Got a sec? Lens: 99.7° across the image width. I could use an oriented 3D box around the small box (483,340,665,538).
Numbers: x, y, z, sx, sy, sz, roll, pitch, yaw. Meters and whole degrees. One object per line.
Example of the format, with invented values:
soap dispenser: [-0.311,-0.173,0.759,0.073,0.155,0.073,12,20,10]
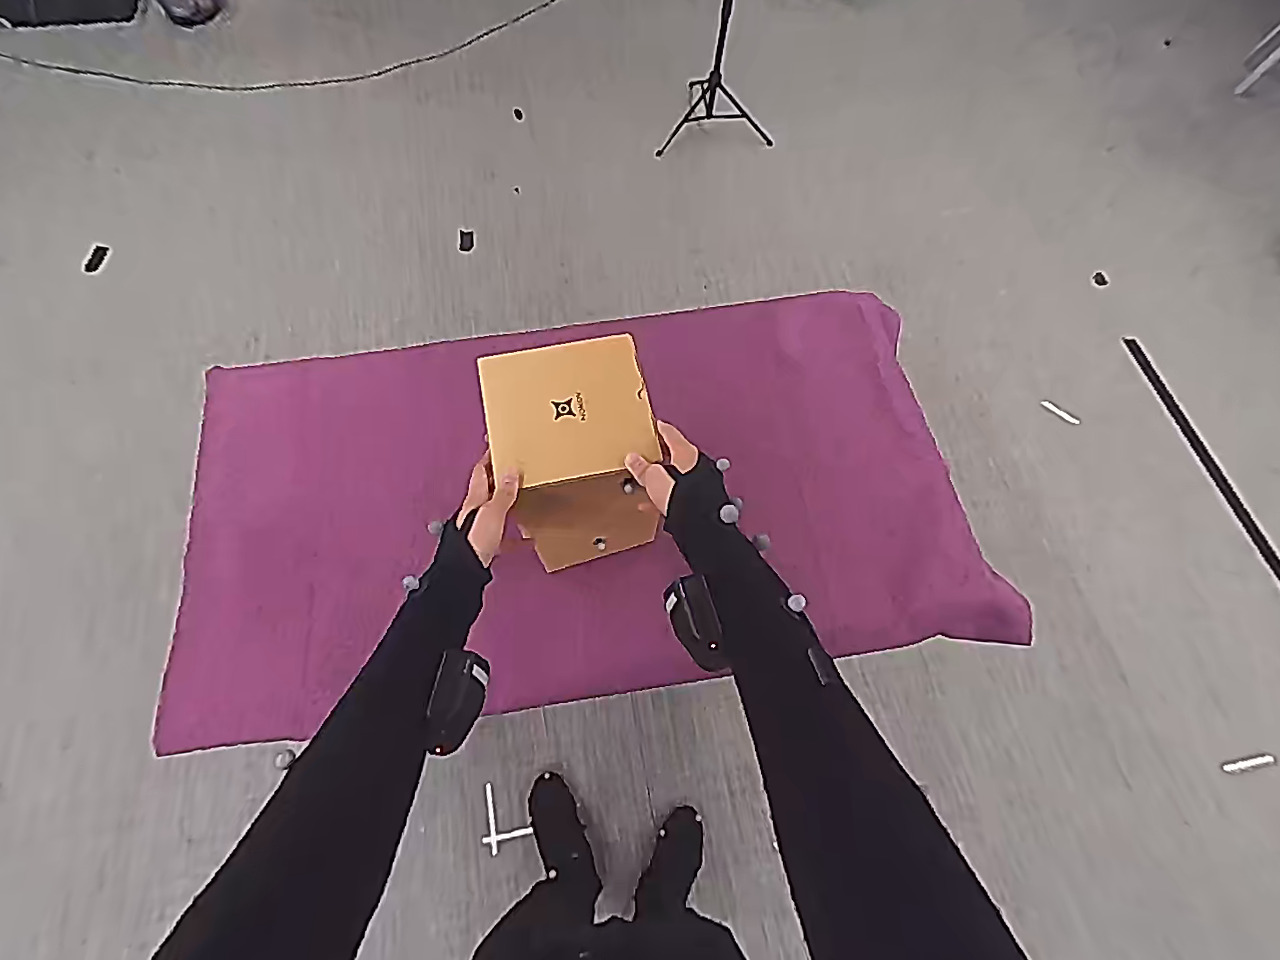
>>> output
small box: [-0.076,-0.040,0.651,0.179,0.176,0.168,-11,68,-7]
